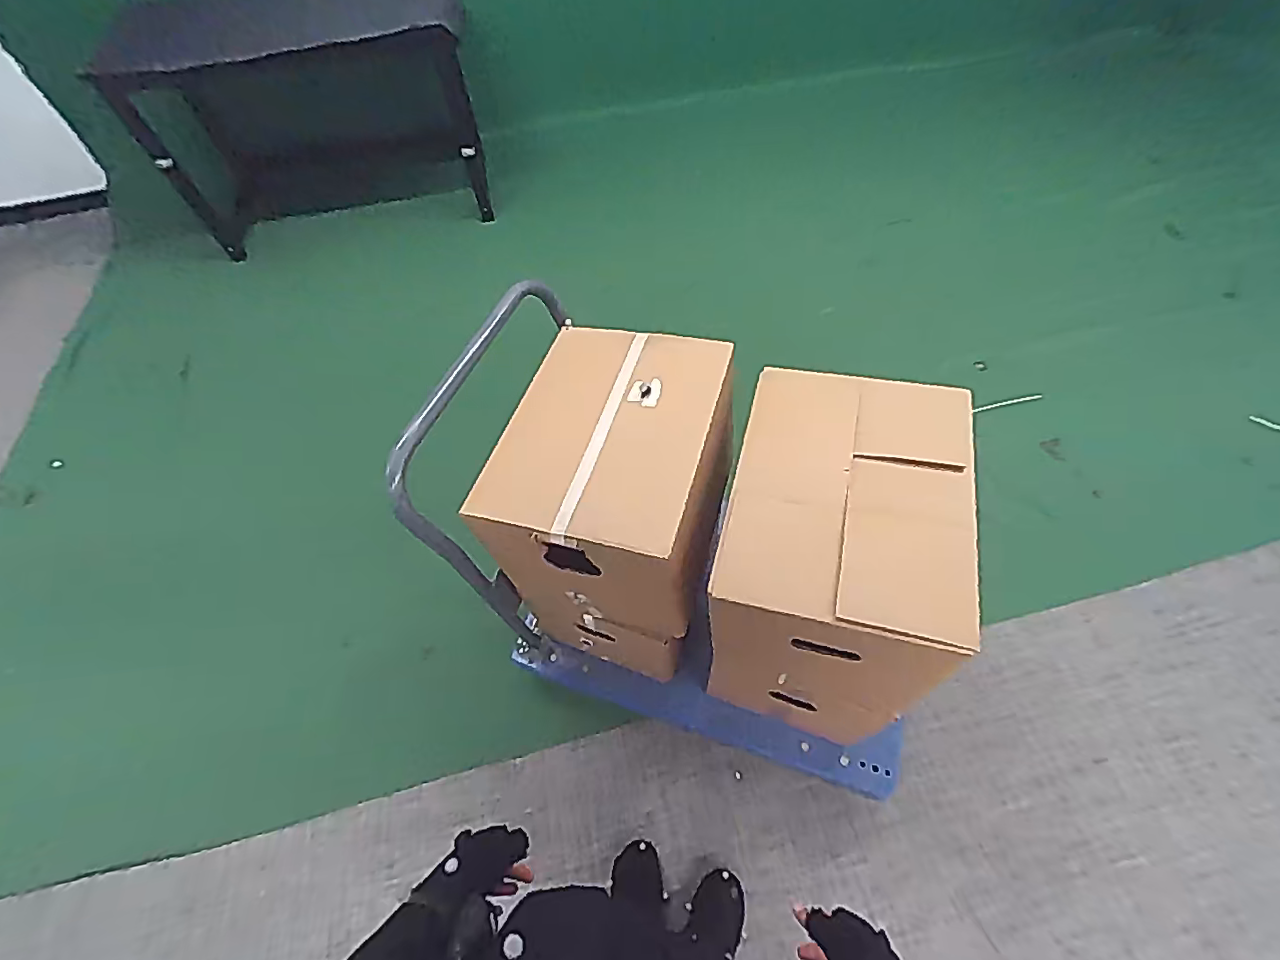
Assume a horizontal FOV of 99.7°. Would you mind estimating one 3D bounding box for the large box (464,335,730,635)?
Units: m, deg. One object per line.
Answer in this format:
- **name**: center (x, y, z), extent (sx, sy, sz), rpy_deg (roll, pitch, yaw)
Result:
- **large box**: center (-0.034, 0.005, 0.948), extent (0.320, 0.320, 0.408), rpy_deg (10, 57, 16)
